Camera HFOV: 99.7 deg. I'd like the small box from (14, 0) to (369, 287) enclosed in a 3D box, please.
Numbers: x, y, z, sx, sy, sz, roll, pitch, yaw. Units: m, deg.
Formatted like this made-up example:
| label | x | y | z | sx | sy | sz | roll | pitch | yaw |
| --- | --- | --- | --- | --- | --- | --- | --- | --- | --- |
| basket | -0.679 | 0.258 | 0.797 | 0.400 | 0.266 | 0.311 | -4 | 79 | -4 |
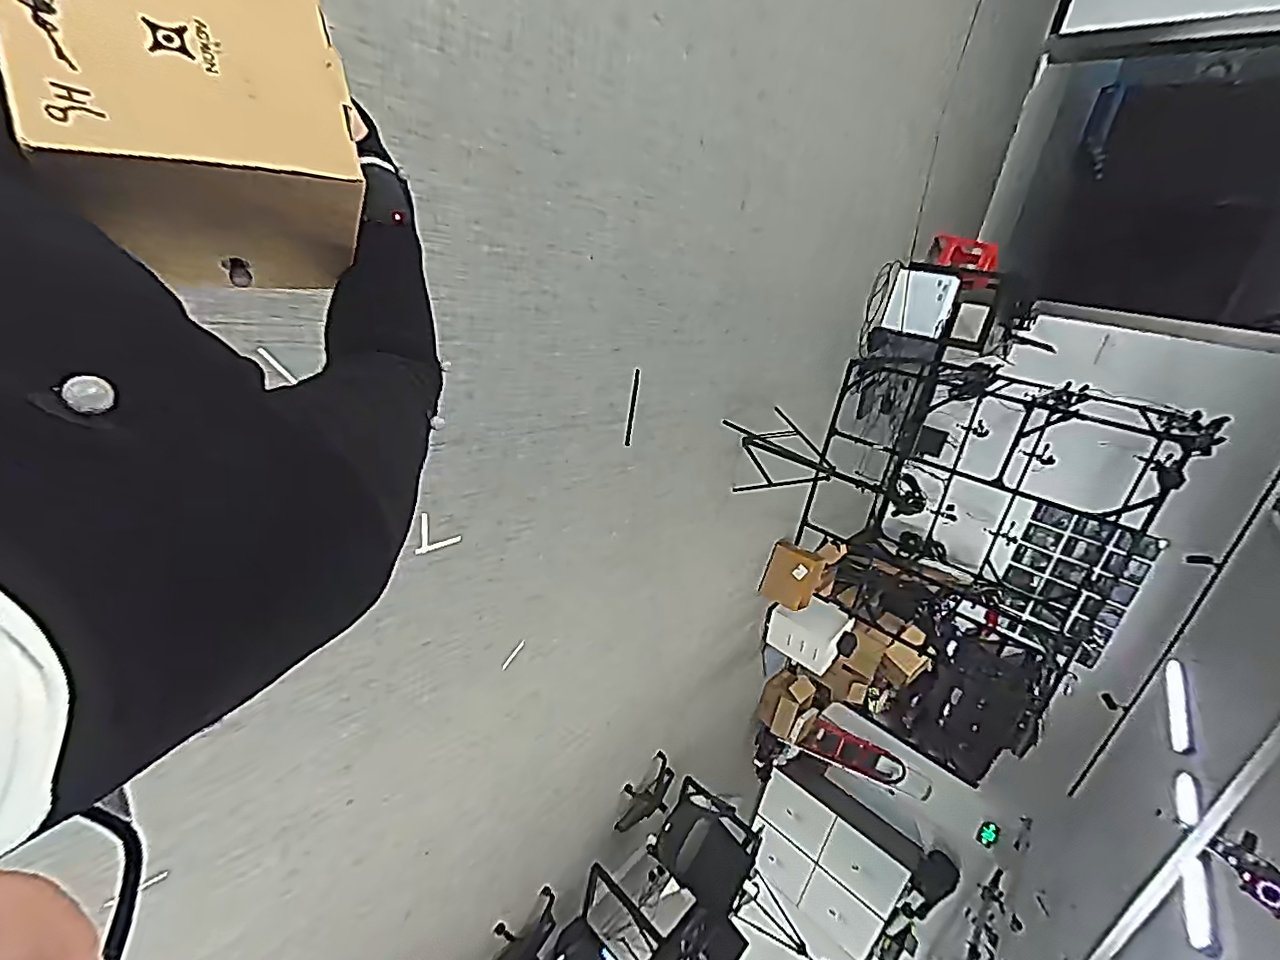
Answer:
| label | x | y | z | sx | sy | sz | roll | pitch | yaw |
| --- | --- | --- | --- | --- | --- | --- | --- | --- | --- |
| small box | -0.337 | -0.269 | 0.430 | 0.179 | 0.176 | 0.168 | -13 | 87 | -34 |
